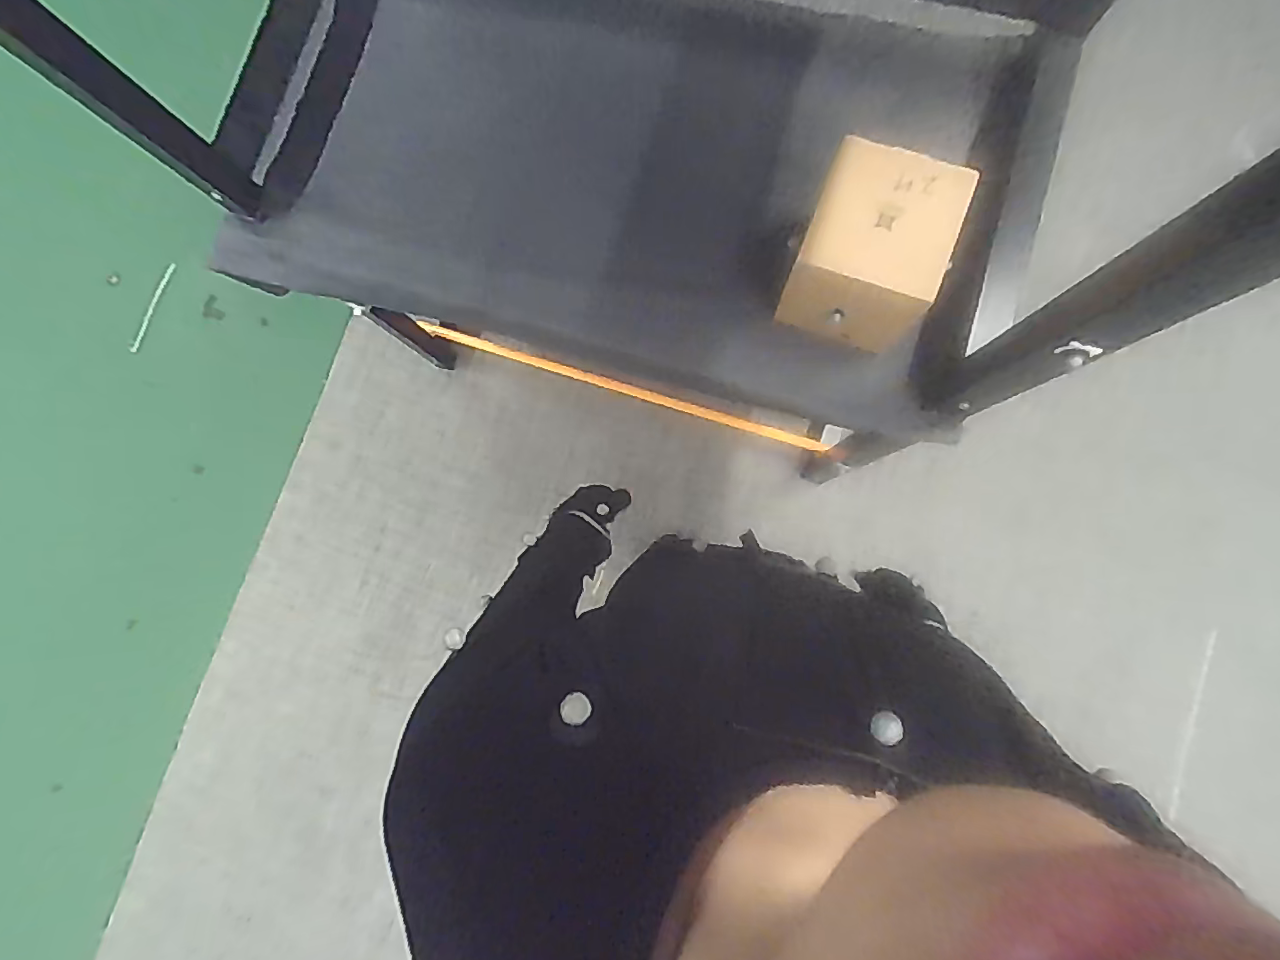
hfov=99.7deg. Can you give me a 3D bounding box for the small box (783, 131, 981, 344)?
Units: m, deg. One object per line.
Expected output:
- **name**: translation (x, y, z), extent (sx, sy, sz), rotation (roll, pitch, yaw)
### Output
- **small box**: translation (0.301, -0.305, 0.716), extent (0.168, 0.176, 0.179), rotation (22, 85, 6)
